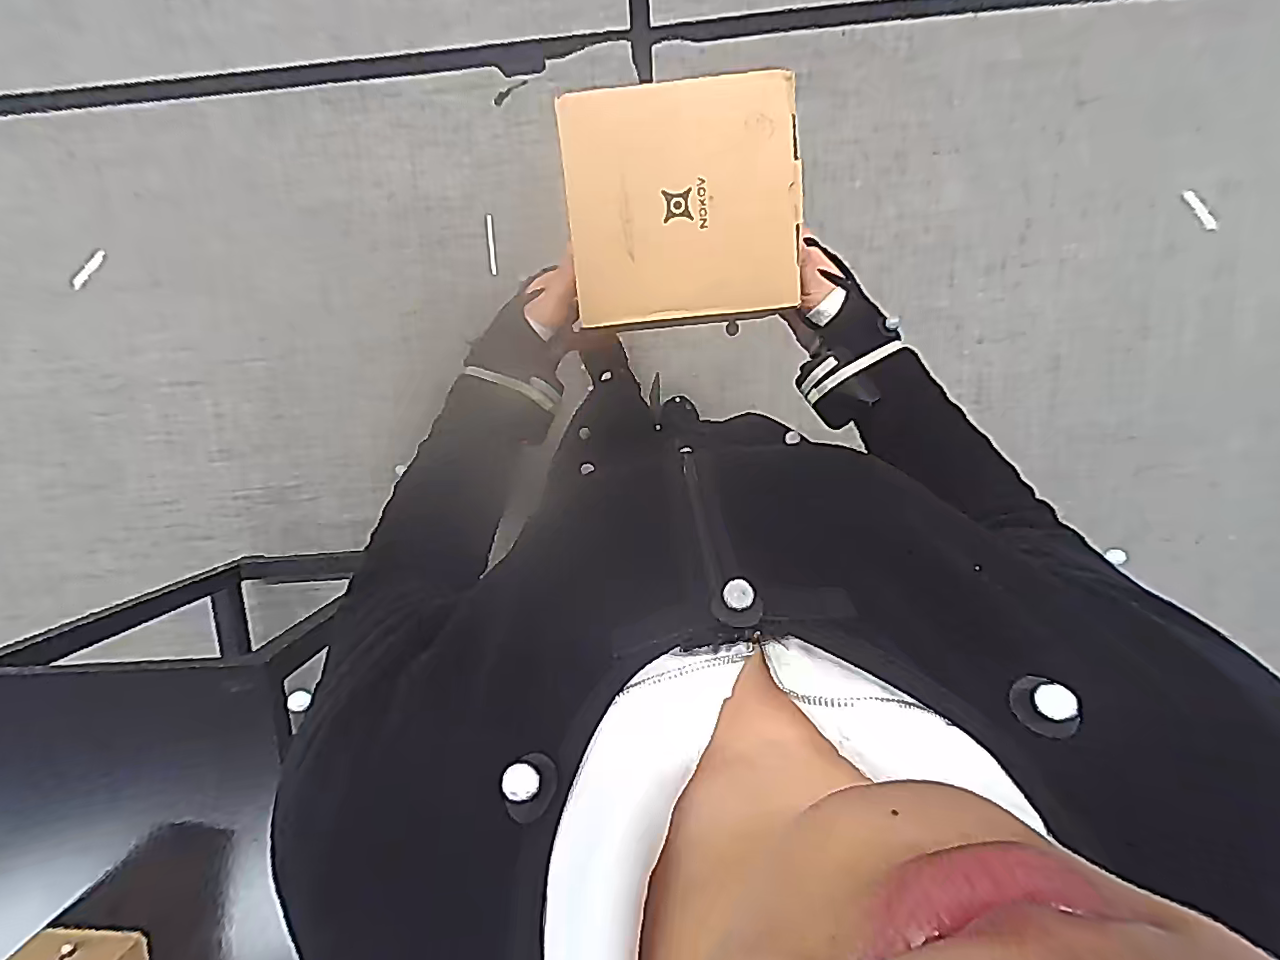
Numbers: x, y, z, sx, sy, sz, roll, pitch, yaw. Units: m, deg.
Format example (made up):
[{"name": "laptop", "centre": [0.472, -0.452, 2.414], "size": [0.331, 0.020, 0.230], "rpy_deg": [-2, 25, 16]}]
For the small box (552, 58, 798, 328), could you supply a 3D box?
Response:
[{"name": "small box", "centre": [0.031, -0.231, 0.482], "size": [0.179, 0.176, 0.168], "rpy_deg": [-6, 102, 4]}]
